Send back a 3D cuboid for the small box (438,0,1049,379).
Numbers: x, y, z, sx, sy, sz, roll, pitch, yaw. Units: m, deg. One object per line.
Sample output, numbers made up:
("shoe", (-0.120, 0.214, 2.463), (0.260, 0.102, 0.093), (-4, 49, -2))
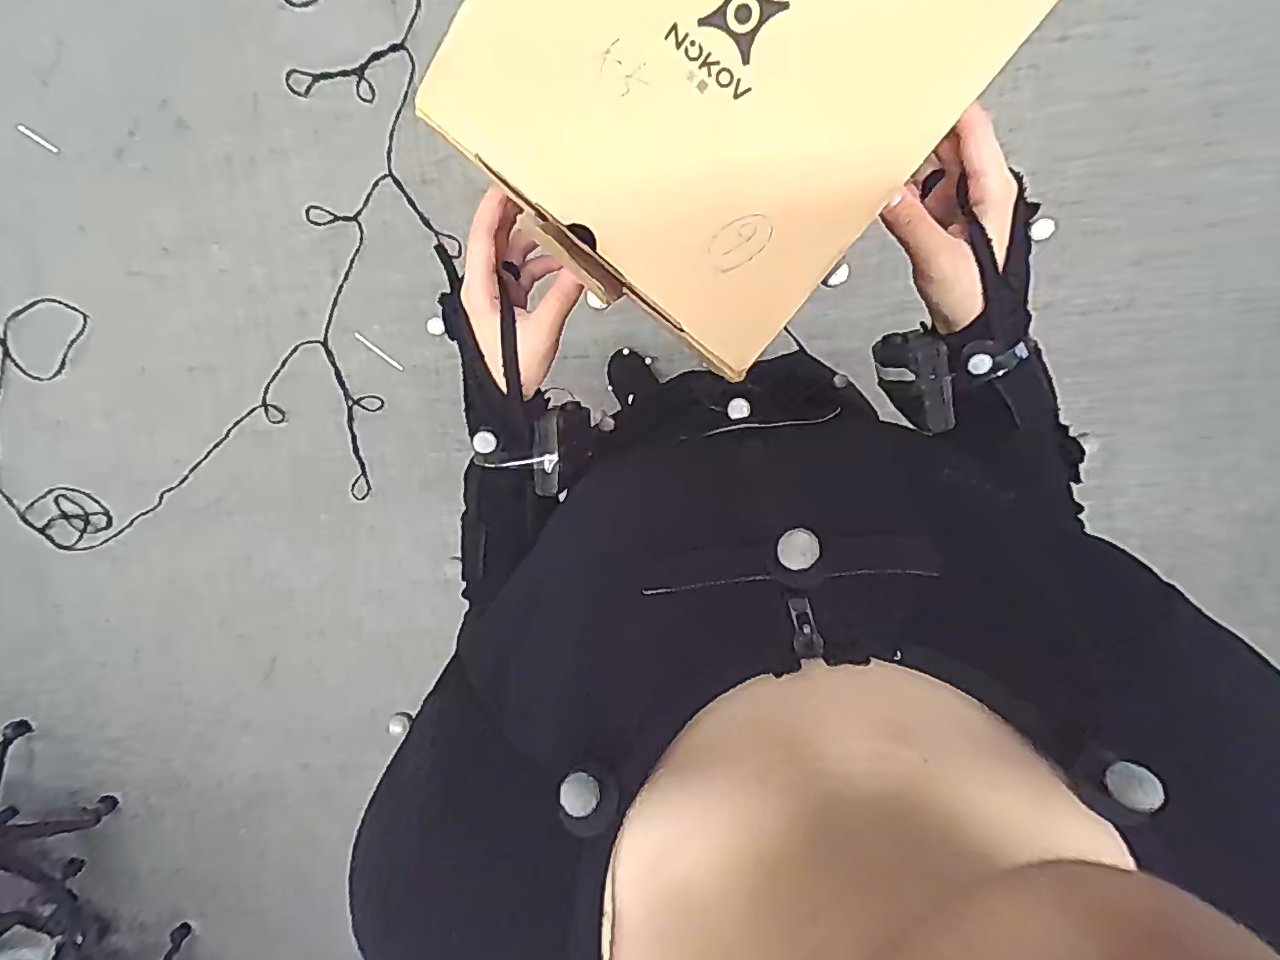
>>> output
("small box", (0.040, -0.173, 0.283), (0.168, 0.176, 0.179), (39, 104, -4))
